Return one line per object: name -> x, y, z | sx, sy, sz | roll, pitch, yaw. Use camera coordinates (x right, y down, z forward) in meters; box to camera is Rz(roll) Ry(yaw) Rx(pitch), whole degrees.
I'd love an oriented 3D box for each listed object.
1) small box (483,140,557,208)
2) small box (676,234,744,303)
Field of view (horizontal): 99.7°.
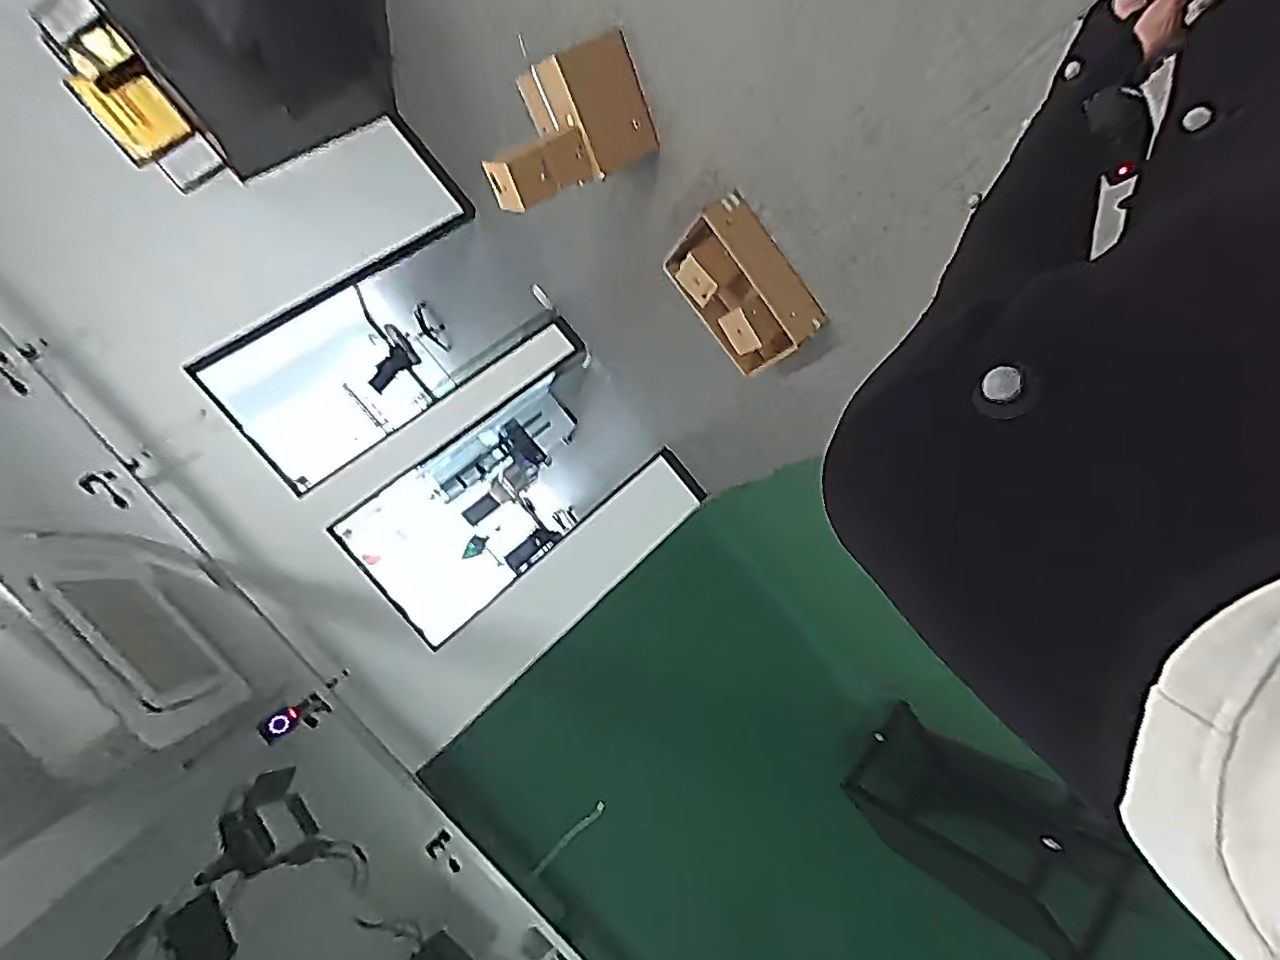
small box -> -0.434, -1.121, 1.975 | 0.179, 0.176, 0.168 | 30, 153, 39
small box -> 0.284, -0.864, 2.191 | 0.179, 0.176, 0.168 | 49, 160, -2
